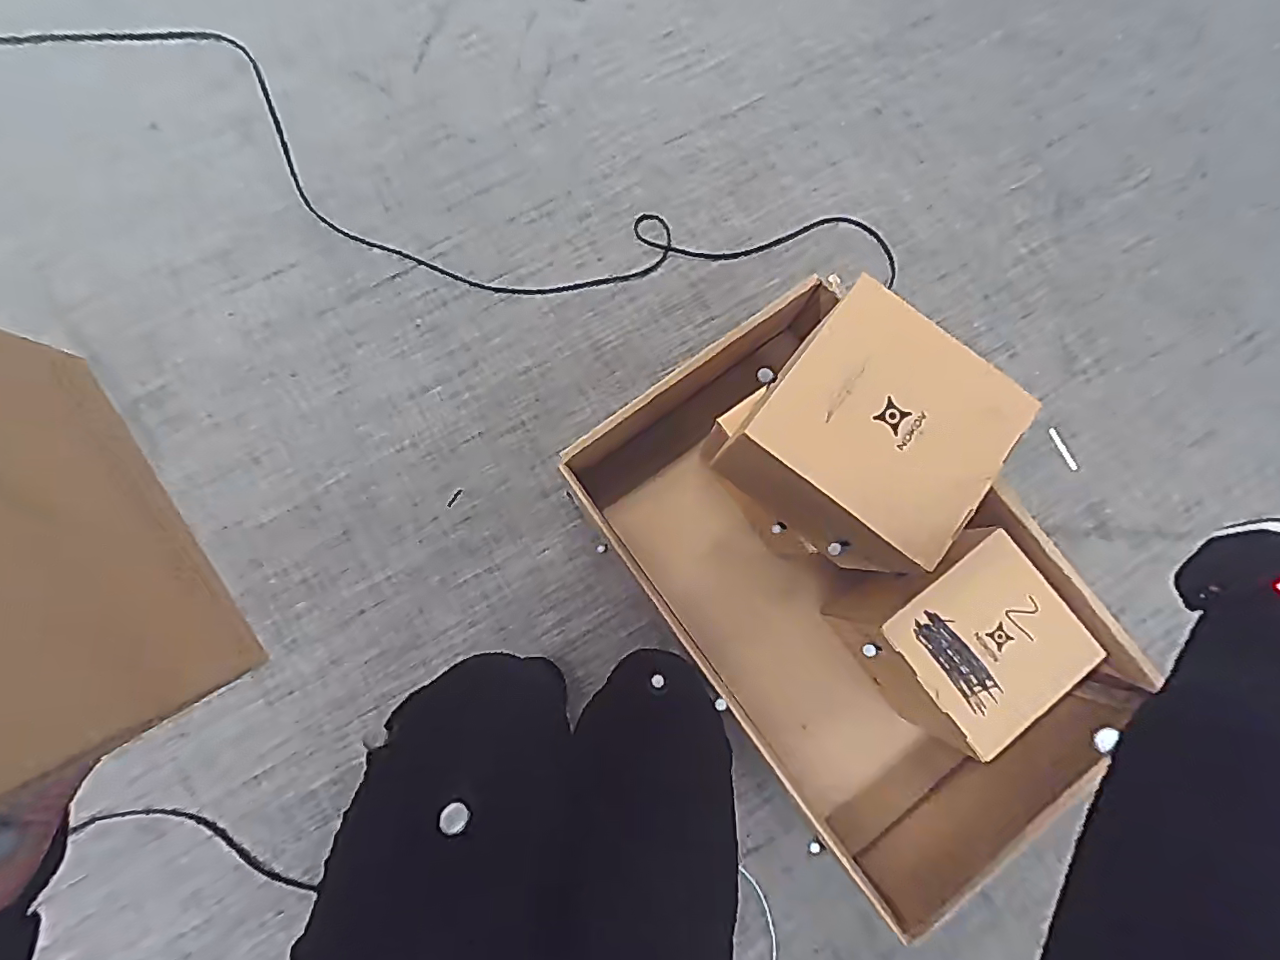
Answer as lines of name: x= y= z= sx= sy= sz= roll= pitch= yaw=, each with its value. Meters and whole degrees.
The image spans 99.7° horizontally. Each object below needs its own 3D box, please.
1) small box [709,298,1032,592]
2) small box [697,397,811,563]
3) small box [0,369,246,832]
small box: x=0.187 y=-0.022 z=0.494 sx=0.179 sy=0.176 sz=0.168 roll=38 pitch=82 yaw=3
small box: x=0.188 y=-0.014 z=0.658 sx=0.168 sy=0.176 sz=0.179 roll=-35 pitch=86 yaw=-6
small box: x=-0.287 y=0.057 z=0.176 sx=0.168 sy=0.176 sz=0.179 roll=-30 pitch=92 yaw=-11
